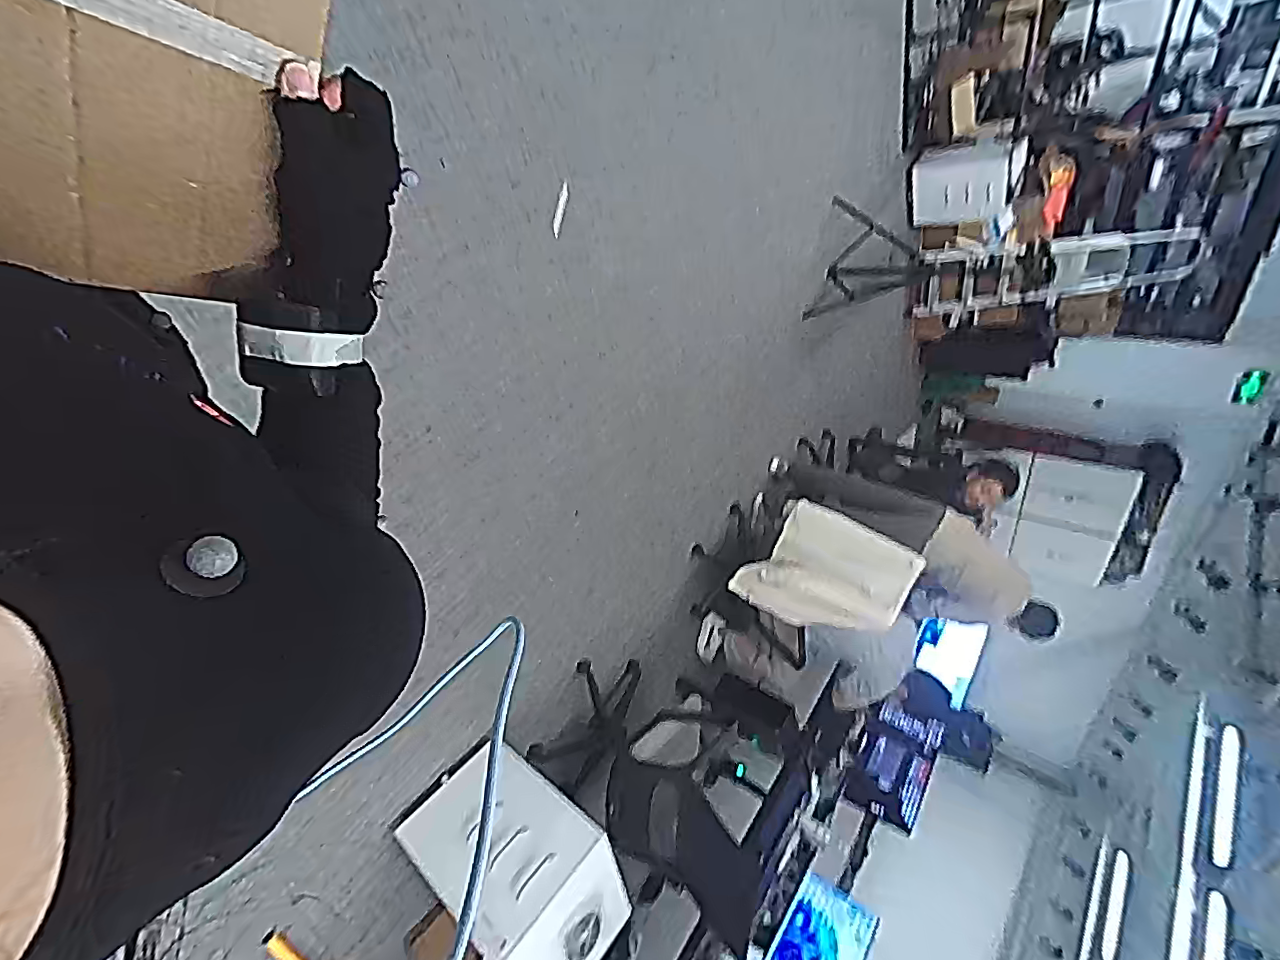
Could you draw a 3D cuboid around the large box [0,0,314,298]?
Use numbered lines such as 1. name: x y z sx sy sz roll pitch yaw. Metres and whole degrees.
1. large box: -0.416 -0.324 0.238 0.408 0.320 0.320 -8 144 -46
